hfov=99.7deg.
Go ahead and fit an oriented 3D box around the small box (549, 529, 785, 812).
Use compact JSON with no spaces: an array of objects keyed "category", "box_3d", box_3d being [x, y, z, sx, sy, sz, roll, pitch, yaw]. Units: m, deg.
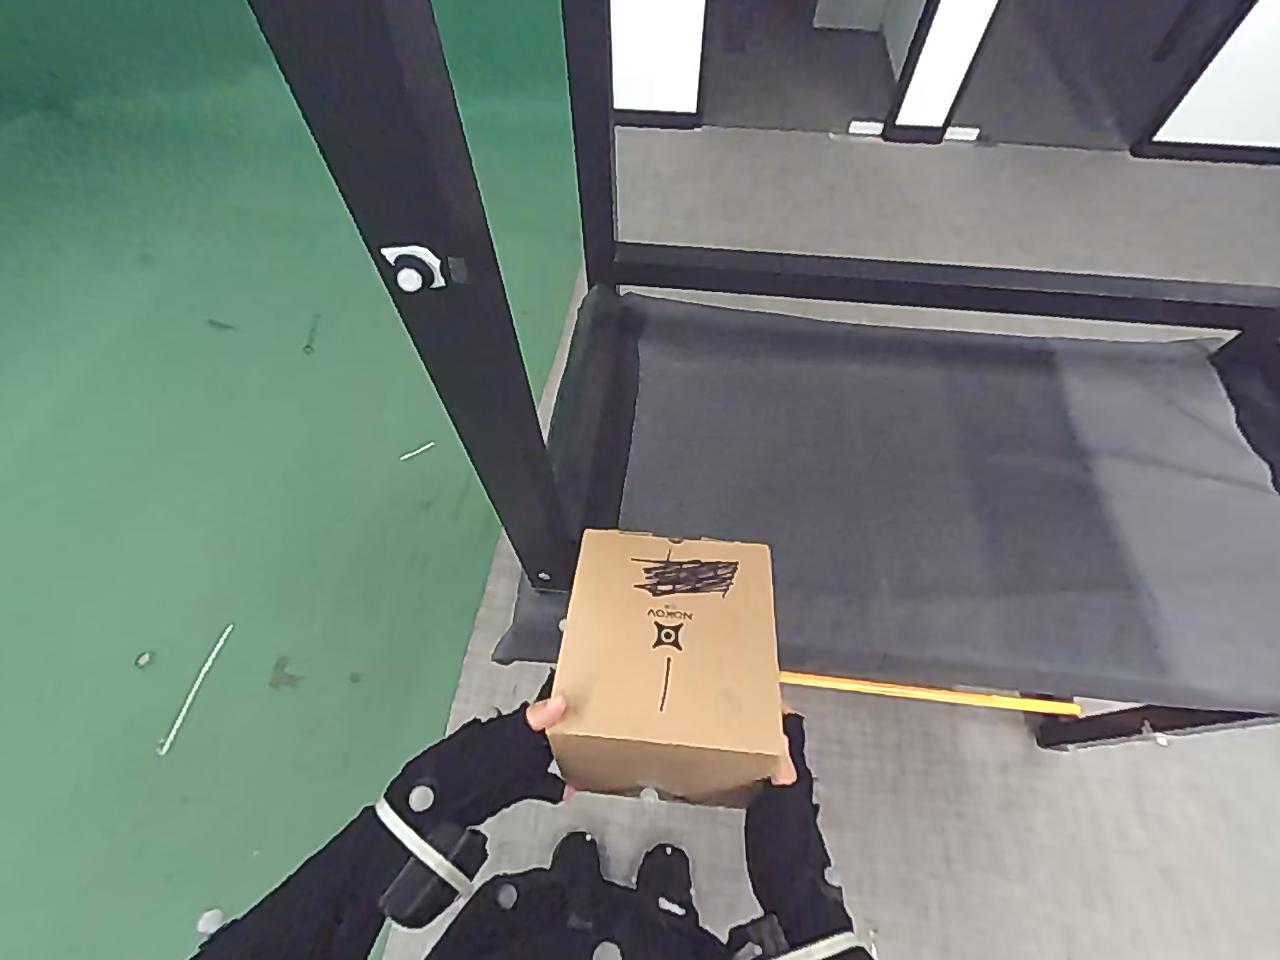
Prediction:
[{"category":"small box","box_3d":[0.025,0.168,0.480,0.168,0.176,0.179,4,47,4]}]
